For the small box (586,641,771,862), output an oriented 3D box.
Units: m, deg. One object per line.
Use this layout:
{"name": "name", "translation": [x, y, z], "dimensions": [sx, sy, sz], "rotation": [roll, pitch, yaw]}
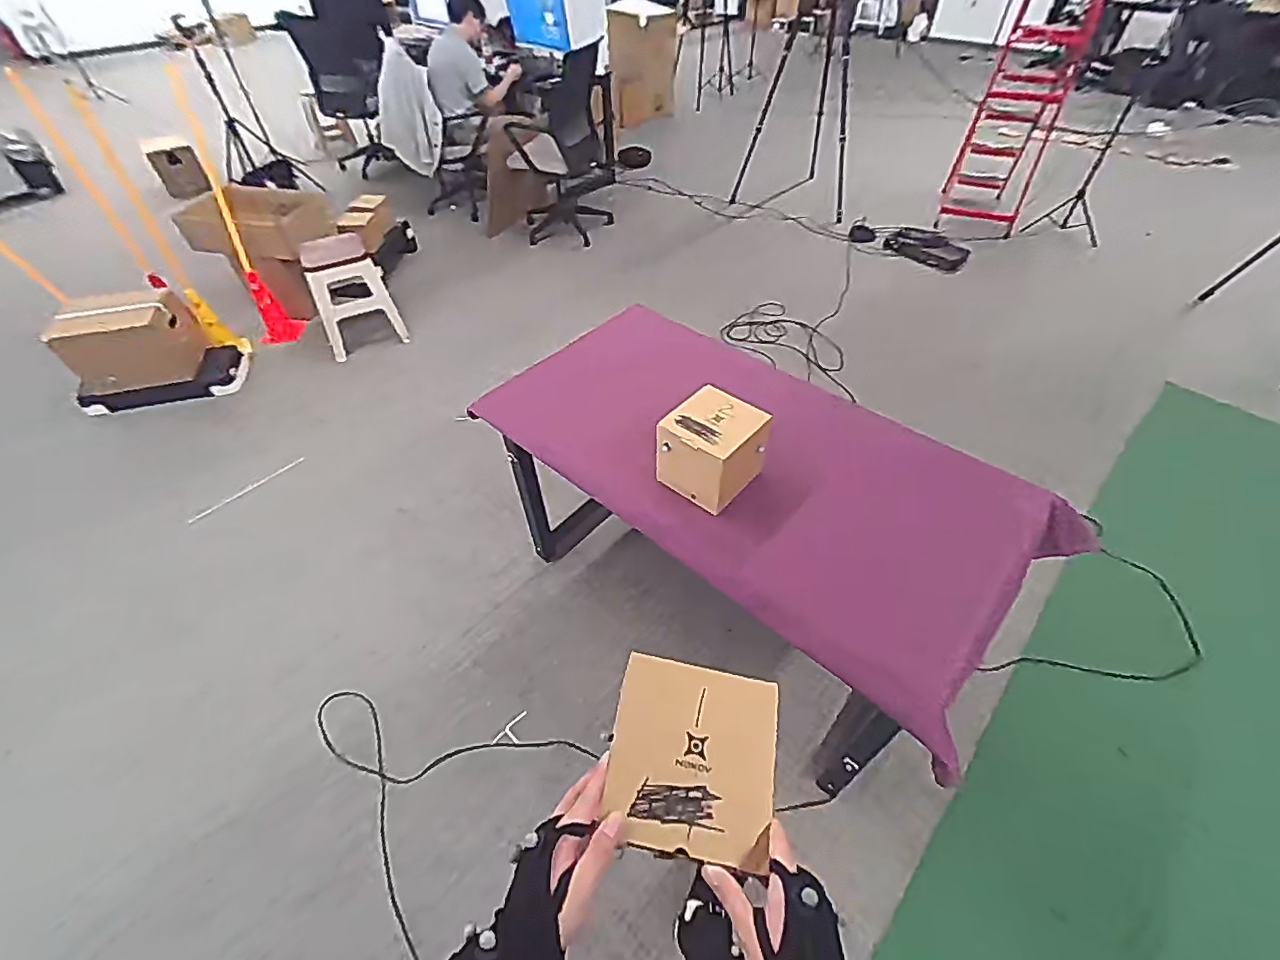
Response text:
{"name": "small box", "translation": [0.040, 0.308, 0.612], "dimensions": [0.168, 0.176, 0.179], "rotation": [12, 56, 1]}
